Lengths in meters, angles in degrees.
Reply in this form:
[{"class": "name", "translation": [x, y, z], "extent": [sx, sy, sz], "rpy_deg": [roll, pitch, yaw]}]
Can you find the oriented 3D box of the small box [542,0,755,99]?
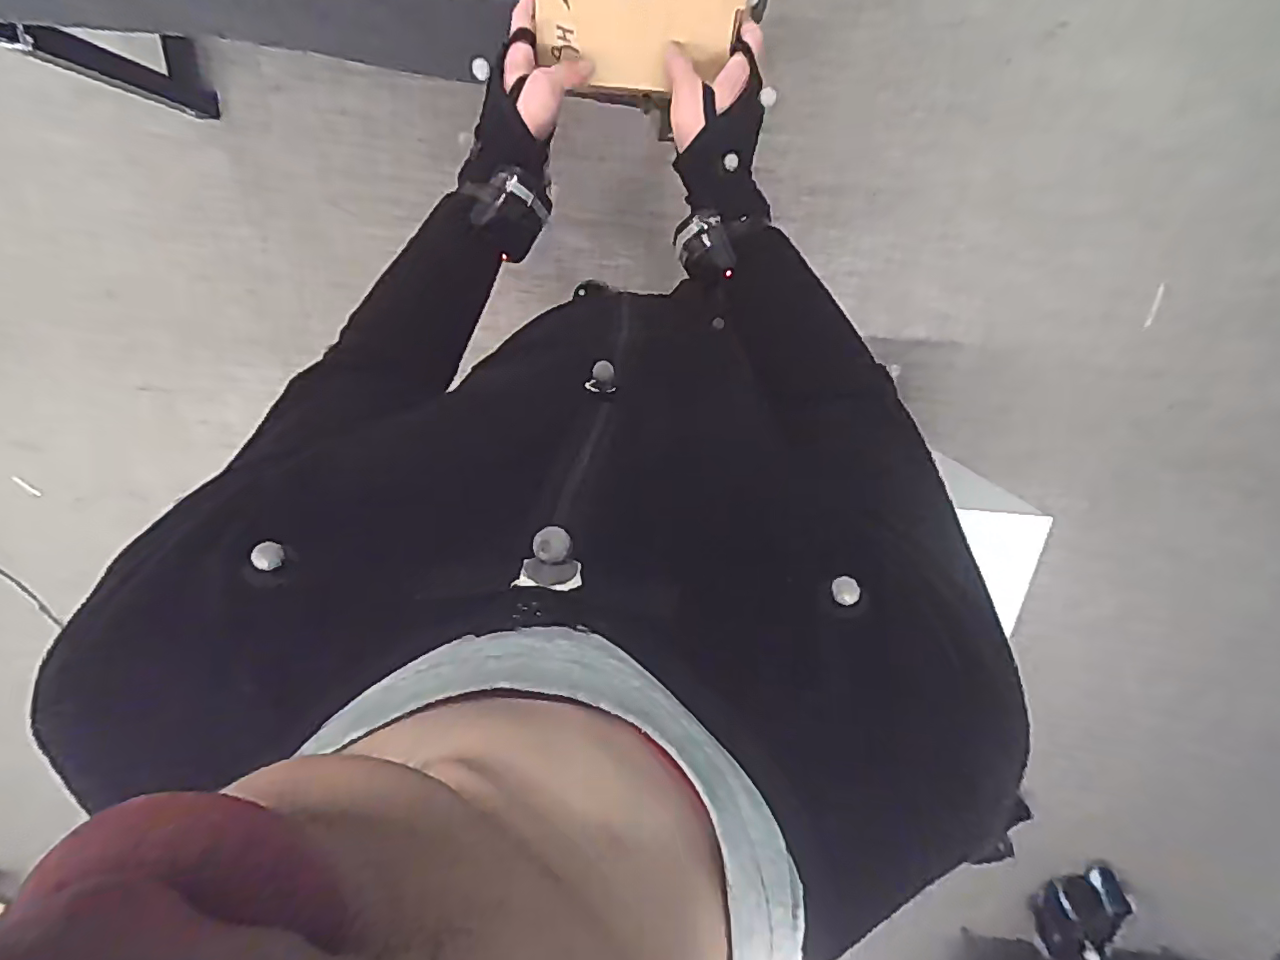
[{"class": "small box", "translation": [0.013, -0.455, 0.490], "extent": [0.179, 0.176, 0.168], "rpy_deg": [6, 123, 1]}]
